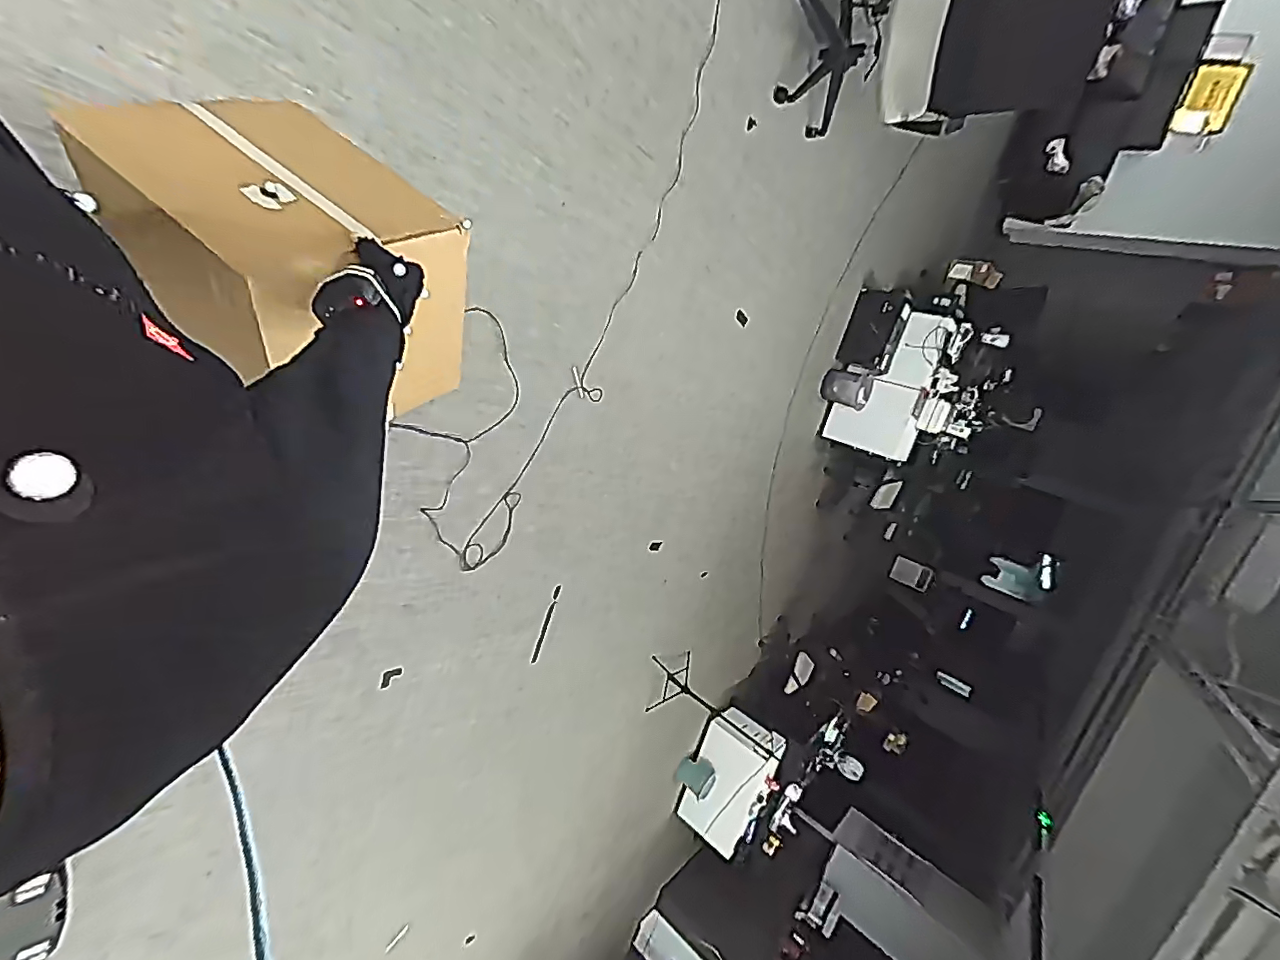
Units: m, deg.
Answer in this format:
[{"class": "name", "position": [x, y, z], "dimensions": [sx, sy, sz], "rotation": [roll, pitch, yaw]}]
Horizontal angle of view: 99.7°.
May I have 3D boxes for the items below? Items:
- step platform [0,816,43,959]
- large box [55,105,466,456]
[{"class": "step platform", "position": [-1.592, 0.933, 0.980], "dimensions": [0.684, 0.204, 0.286], "rotation": [0, 111, -51]}, {"class": "large box", "position": [-0.538, -0.314, 0.836], "dimensions": [0.320, 0.408, 0.320], "rotation": [-41, 164, -41]}]
